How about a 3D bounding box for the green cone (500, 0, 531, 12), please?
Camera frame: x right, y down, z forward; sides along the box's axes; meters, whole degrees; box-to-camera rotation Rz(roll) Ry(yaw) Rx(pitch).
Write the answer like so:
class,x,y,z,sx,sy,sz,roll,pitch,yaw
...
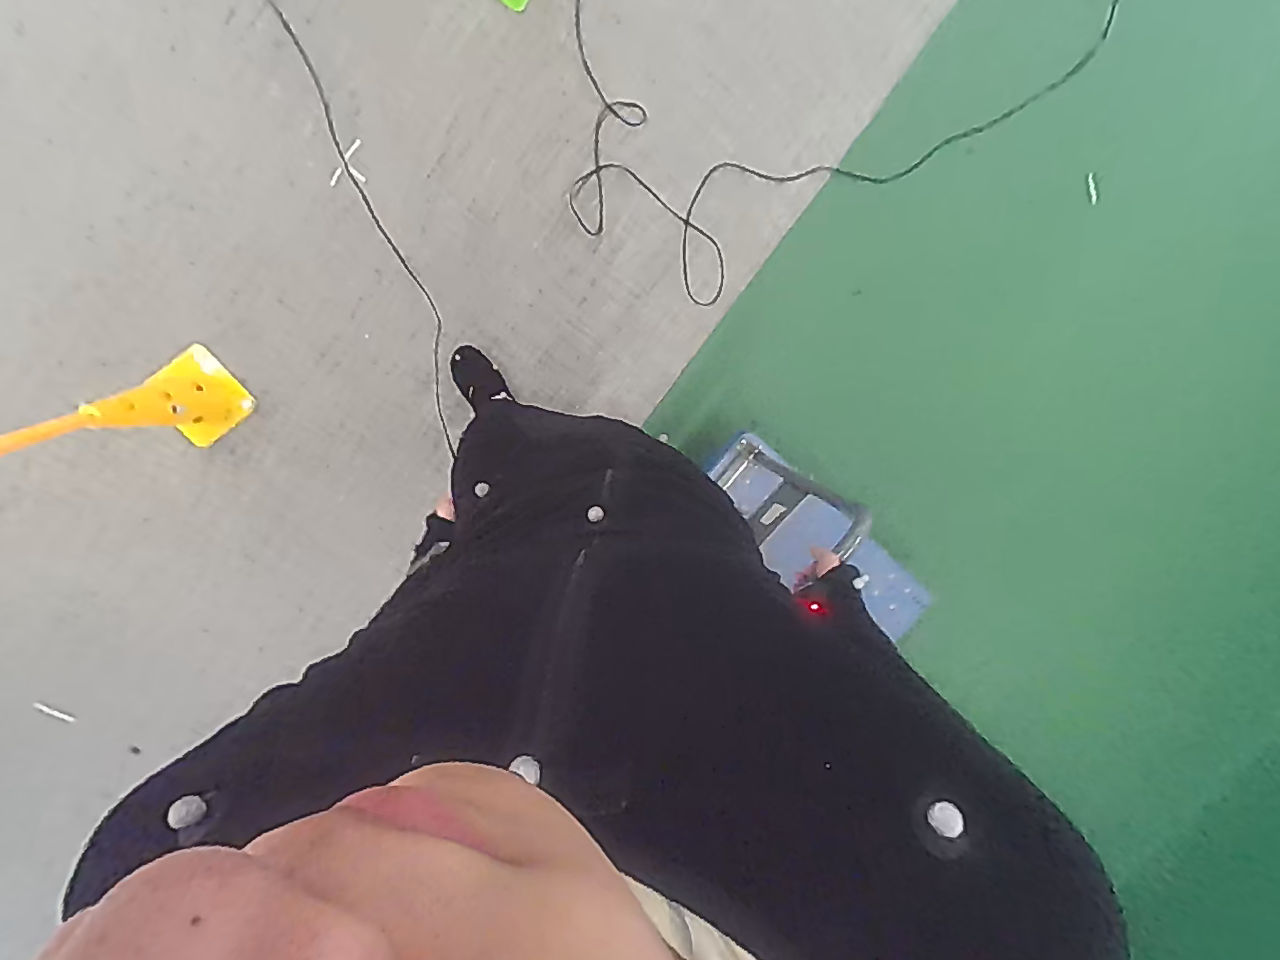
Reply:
class,x,y,z,sx,sy,sz,roll,pitch,yaw
green cone,-0.281,-1.195,1.088,0.200,0.368,0.202,32,96,-16
